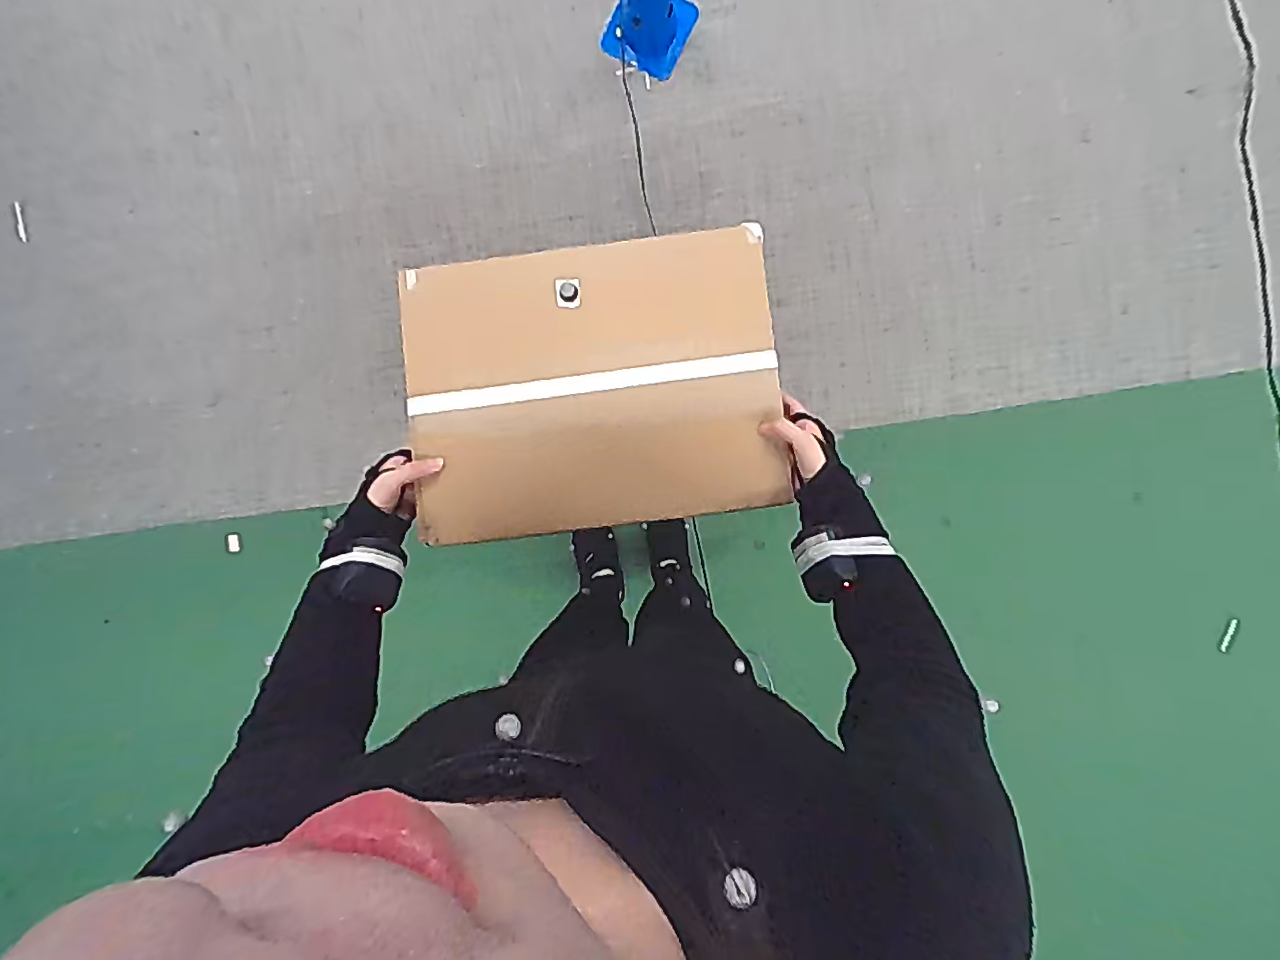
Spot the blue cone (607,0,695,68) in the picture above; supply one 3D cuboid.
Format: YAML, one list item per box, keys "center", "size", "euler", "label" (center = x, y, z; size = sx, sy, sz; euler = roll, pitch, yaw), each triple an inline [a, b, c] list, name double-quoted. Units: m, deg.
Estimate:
- center: [0.019, -1.134, 1.189]
  size: [0.192, 0.380, 0.193]
  euler: [25, 96, 1]
  label: "blue cone"
